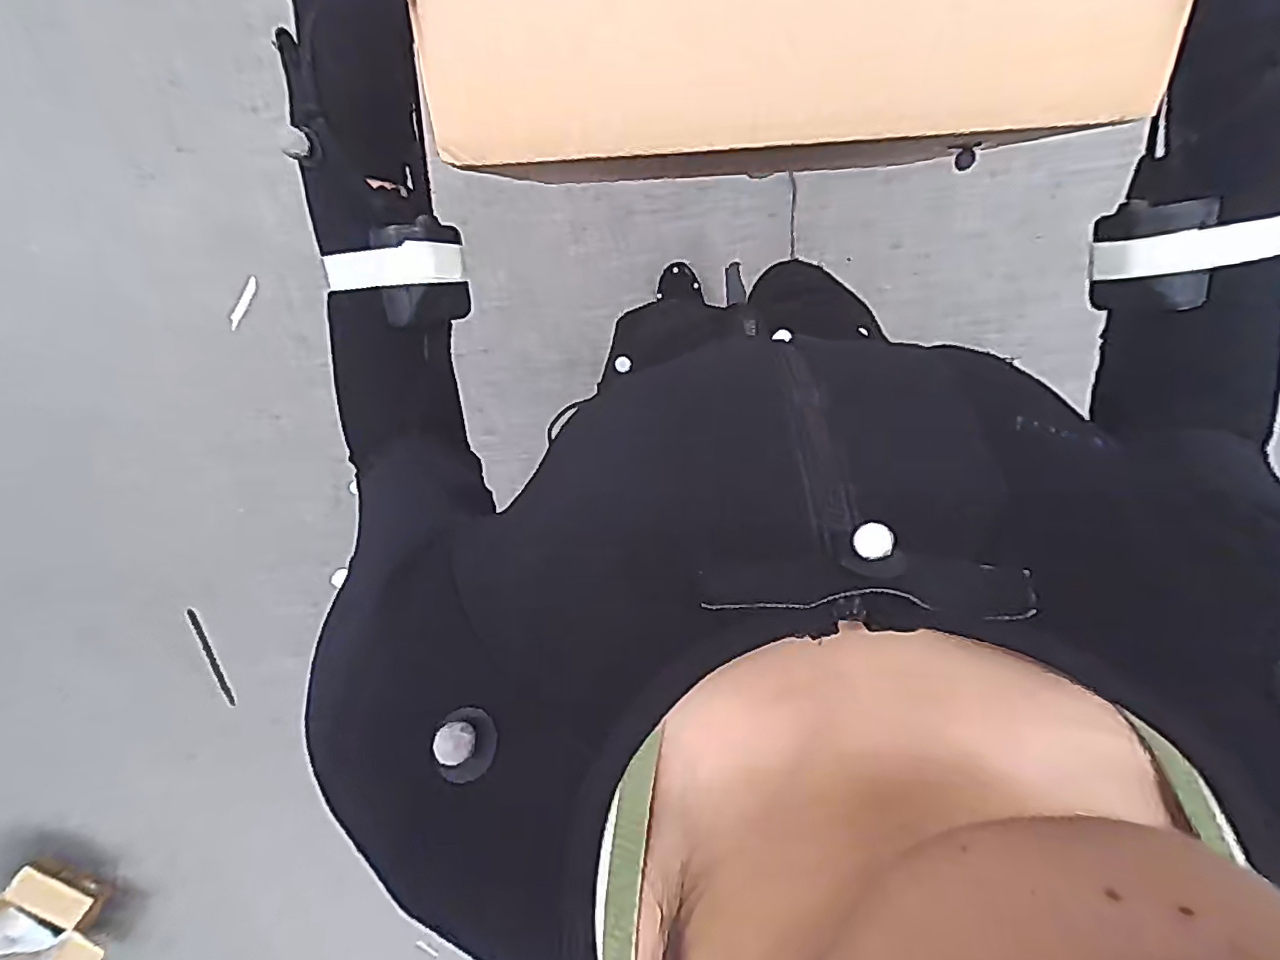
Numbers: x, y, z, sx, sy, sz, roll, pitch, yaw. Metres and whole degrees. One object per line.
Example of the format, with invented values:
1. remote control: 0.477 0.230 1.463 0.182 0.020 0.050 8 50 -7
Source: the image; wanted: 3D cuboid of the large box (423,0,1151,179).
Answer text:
1. large box: 0.079 -0.408 0.388 0.408 0.320 0.320 -2 116 3
